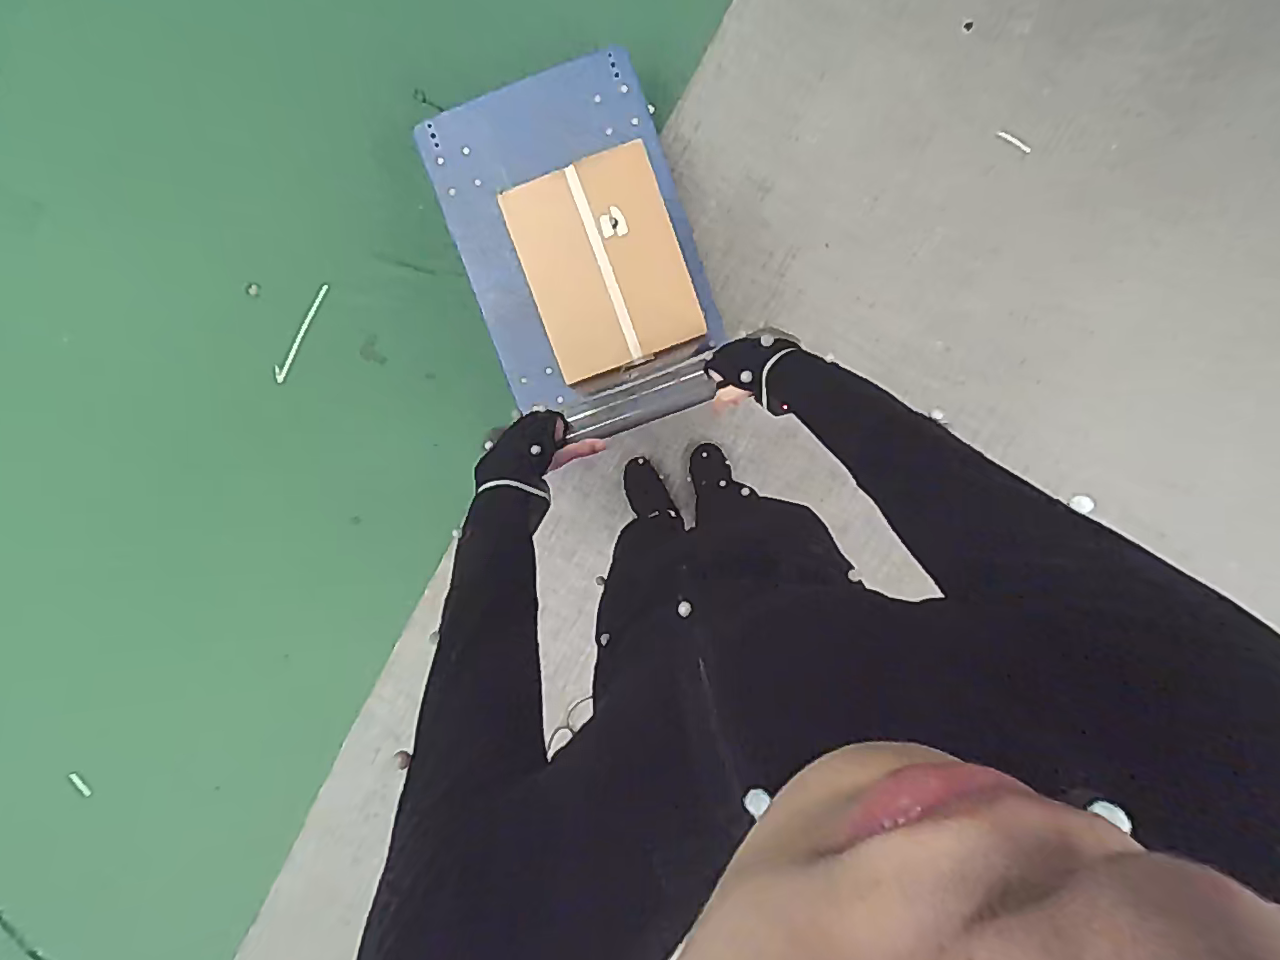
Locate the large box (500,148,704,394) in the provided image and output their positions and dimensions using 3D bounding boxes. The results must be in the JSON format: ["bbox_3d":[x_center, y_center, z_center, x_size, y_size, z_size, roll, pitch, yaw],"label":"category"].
[{"bbox_3d":[-0.072,-0.448,1.258,0.320,0.320,0.408,-20,94,2],"label":"large box"}]
